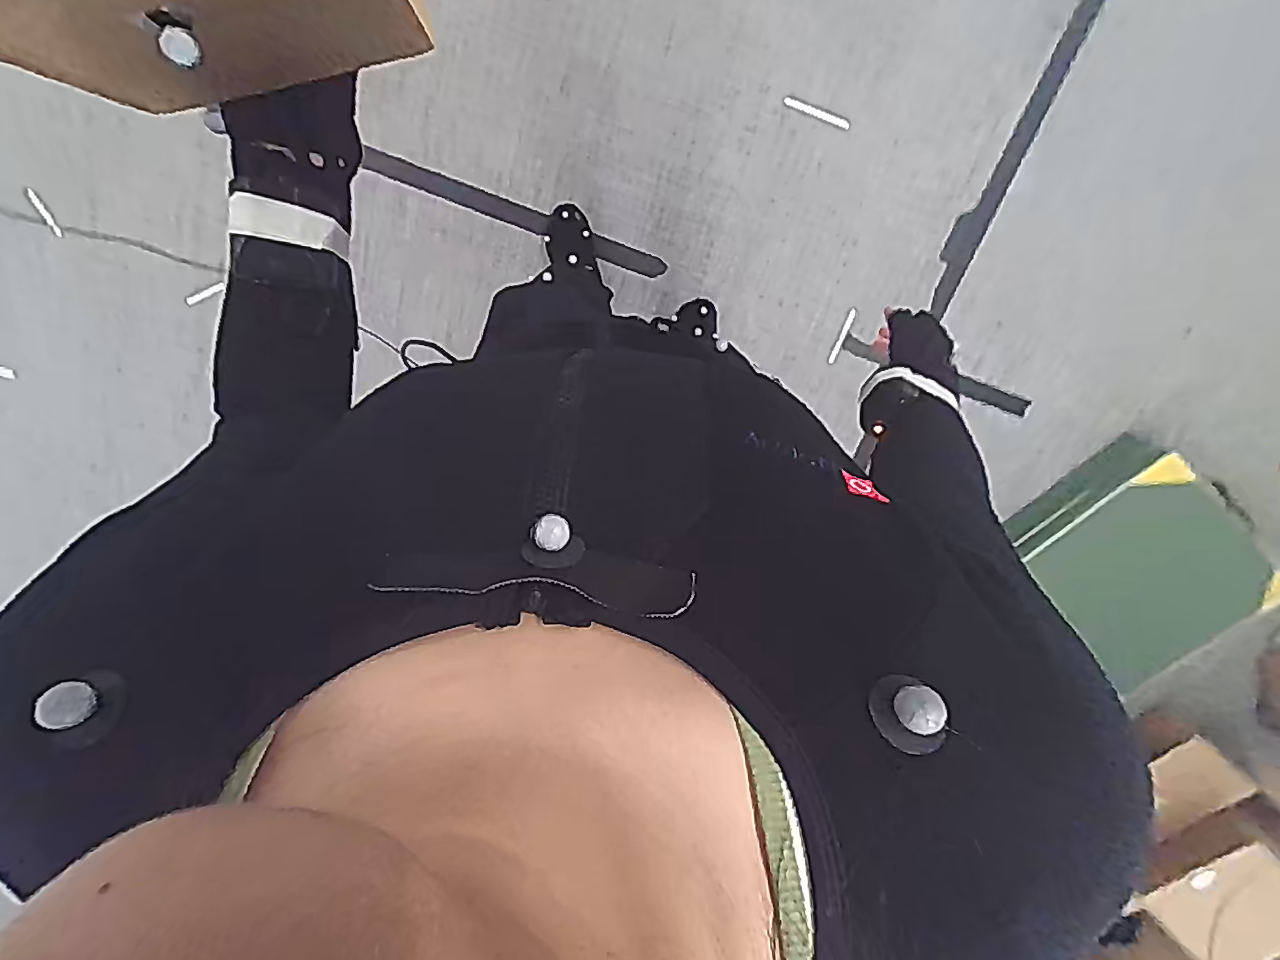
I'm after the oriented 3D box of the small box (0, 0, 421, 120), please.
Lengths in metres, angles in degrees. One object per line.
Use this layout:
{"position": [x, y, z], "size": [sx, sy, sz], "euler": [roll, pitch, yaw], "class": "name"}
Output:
{"position": [-0.223, -0.282, 0.226], "size": [0.179, 0.176, 0.168], "euler": [-19, 113, -1], "class": "small box"}
